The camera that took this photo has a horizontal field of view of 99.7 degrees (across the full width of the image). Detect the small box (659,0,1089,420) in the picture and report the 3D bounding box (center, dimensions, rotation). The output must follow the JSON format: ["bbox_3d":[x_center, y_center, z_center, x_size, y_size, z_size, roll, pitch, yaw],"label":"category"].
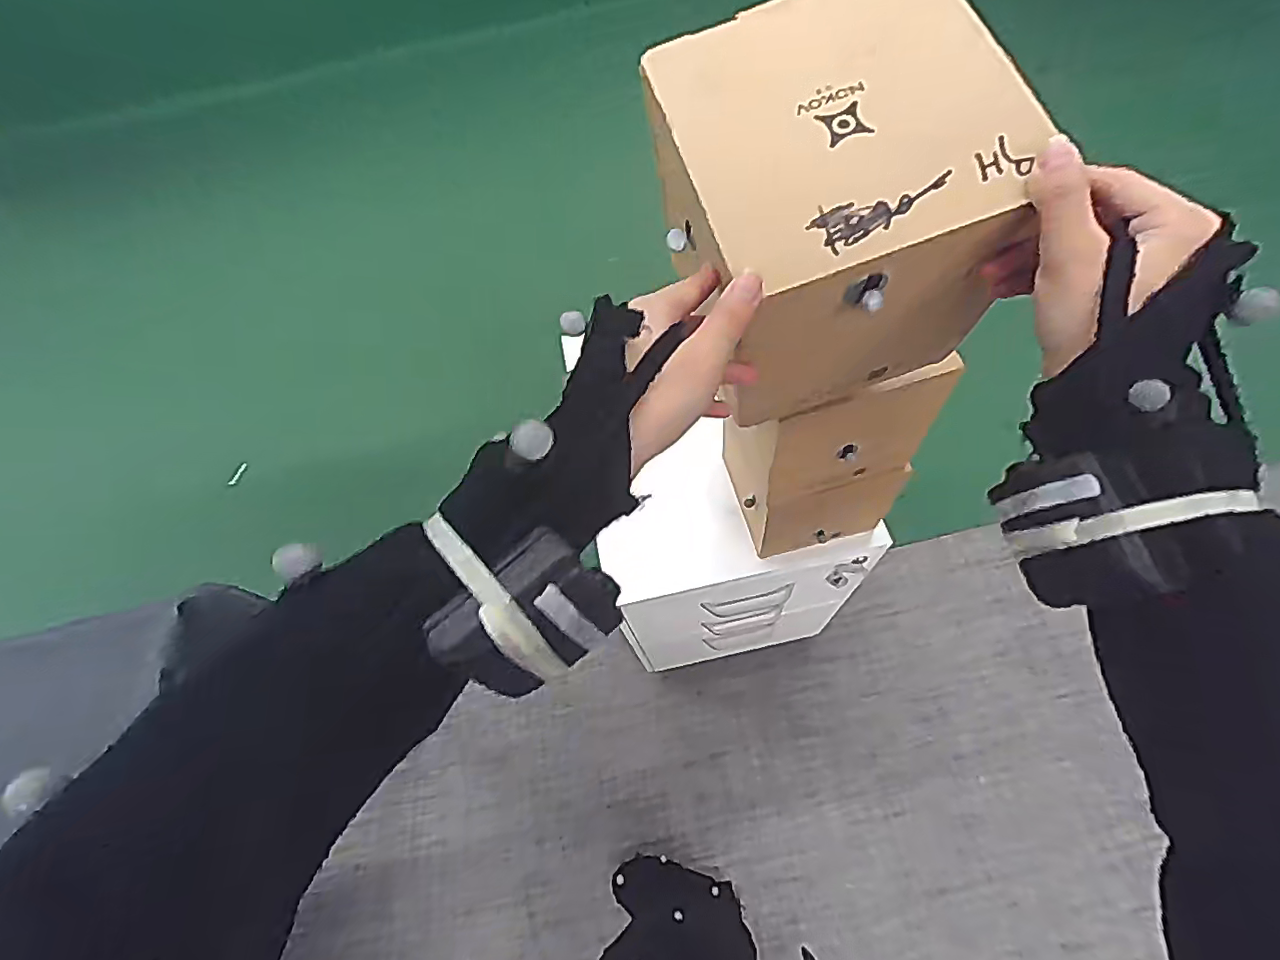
[{"bbox_3d":[0.119,-0.166,0.355,0.168,0.176,0.179,-18,72,3],"label":"small box"}]

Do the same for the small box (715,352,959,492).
[{"bbox_3d":[0.182,-0.103,0.563,0.168,0.176,0.179,-16,61,-2],"label":"small box"}]
